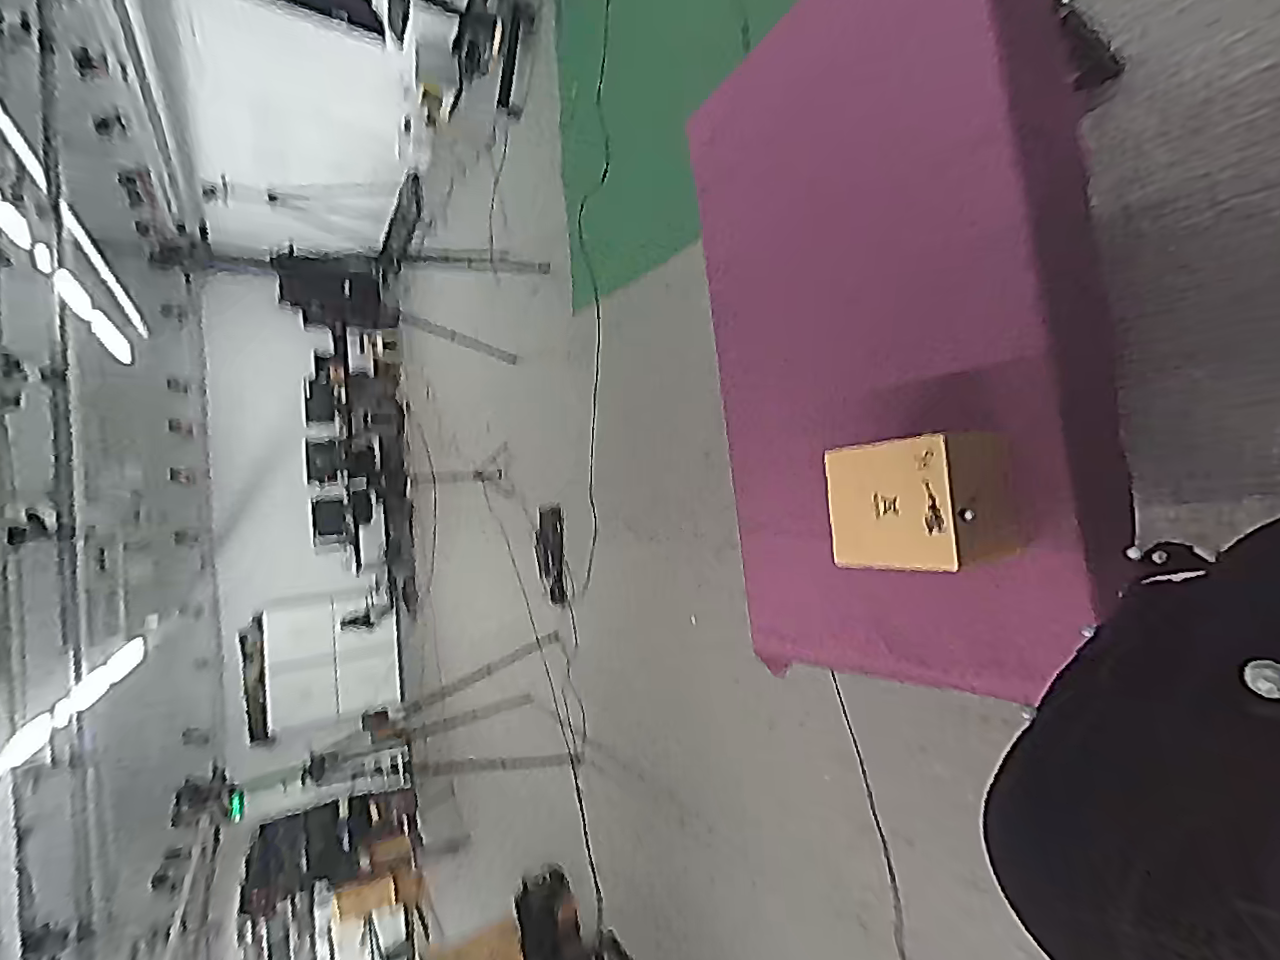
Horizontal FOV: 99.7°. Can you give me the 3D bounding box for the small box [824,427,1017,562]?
[{"bbox_3d":[0.392,0.020,0.765,0.179,0.176,0.168,-9,86,57],"label":"small box"}]
